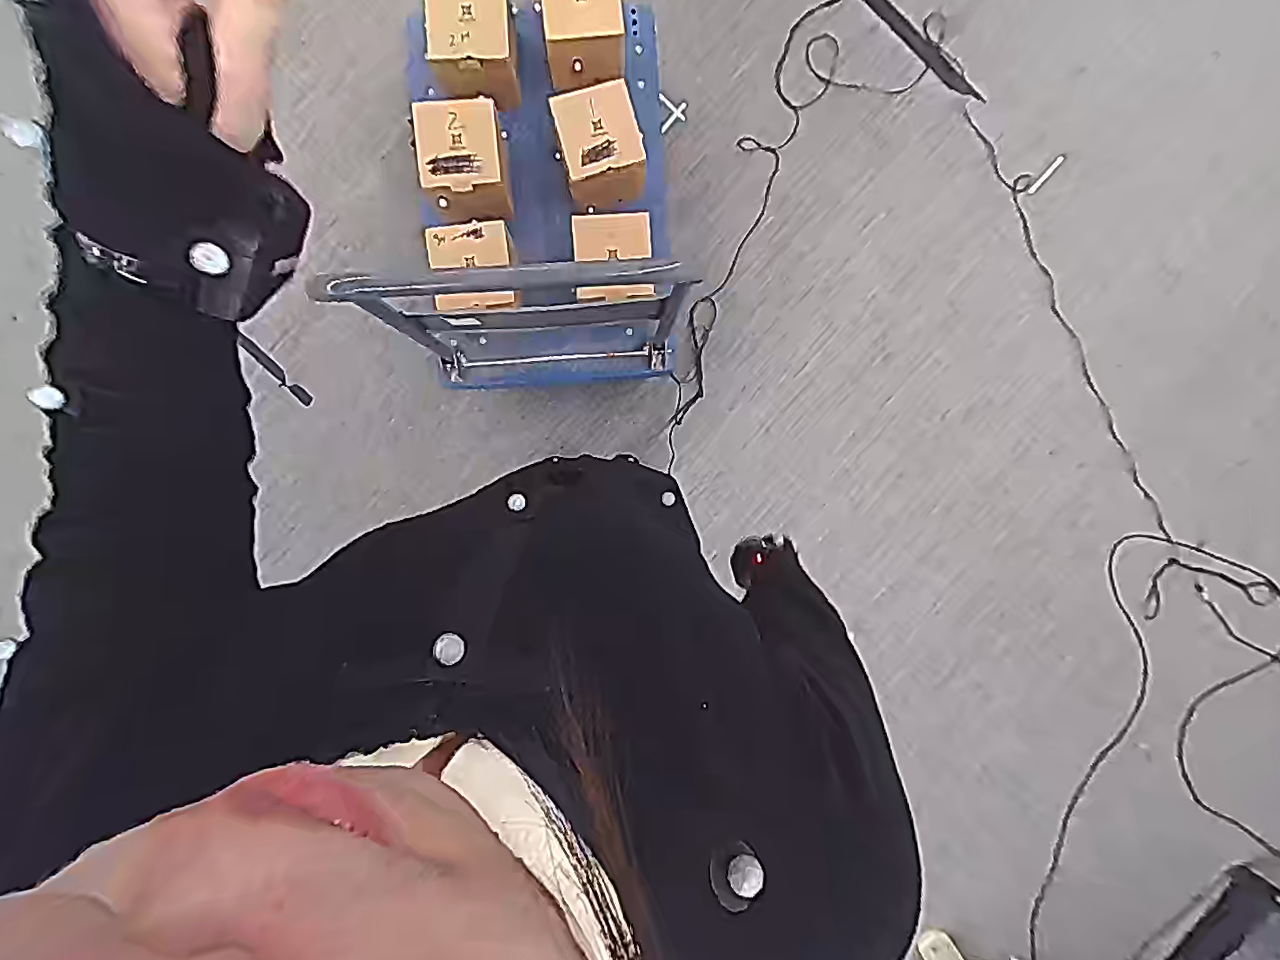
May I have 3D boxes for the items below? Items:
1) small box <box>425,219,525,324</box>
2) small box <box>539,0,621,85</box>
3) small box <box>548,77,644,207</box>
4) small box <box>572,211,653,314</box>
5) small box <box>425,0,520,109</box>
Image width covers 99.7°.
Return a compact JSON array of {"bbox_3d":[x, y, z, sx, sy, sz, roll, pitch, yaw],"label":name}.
[{"bbox_3d":[-0.357,-0.452,1.204,0.168,0.176,0.179,-8,94,-4],"label":"small box"},{"bbox_3d":[-0.130,-1.006,1.188,0.168,0.176,0.179,-7,93,-3],"label":"small box"},{"bbox_3d":[-0.093,-0.736,1.204,0.168,0.176,0.179,-17,93,-2],"label":"small box"},{"bbox_3d":[-0.061,-0.481,1.220,0.168,0.176,0.179,-4,93,-3],"label":"small box"},{"bbox_3d":[-0.358,-0.951,1.176,0.168,0.176,0.179,-3,94,-3],"label":"small box"}]
